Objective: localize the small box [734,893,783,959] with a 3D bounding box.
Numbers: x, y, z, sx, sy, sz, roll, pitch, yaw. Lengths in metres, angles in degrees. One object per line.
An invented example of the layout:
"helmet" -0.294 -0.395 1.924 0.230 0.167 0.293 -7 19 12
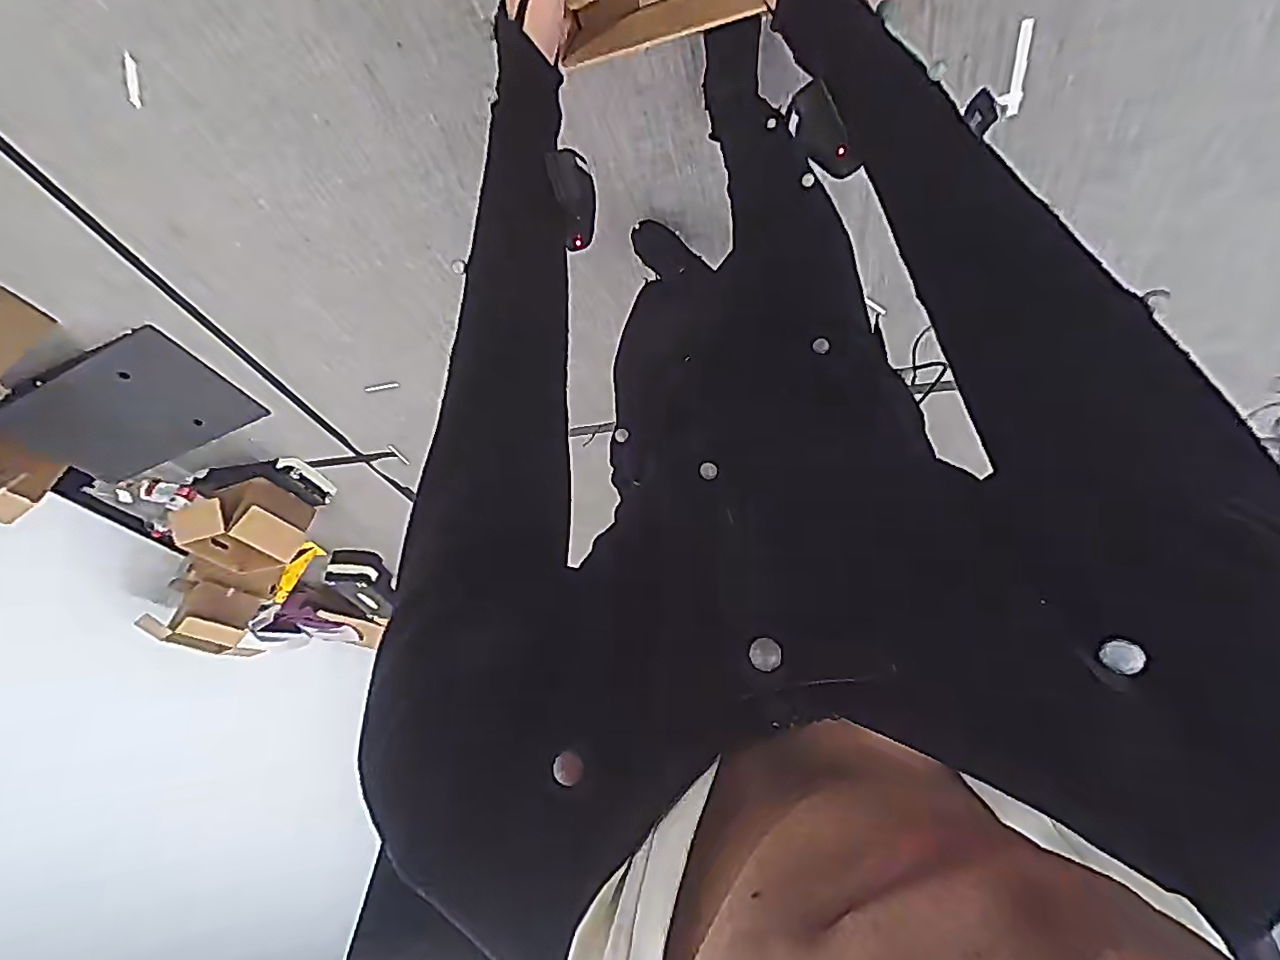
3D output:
"small box" 0.434 1.627 1.978 0.168 0.176 0.179 -4 145 13

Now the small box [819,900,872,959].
"small box" 0.784 1.732 2.079 0.179 0.176 0.168 -4 145 16
